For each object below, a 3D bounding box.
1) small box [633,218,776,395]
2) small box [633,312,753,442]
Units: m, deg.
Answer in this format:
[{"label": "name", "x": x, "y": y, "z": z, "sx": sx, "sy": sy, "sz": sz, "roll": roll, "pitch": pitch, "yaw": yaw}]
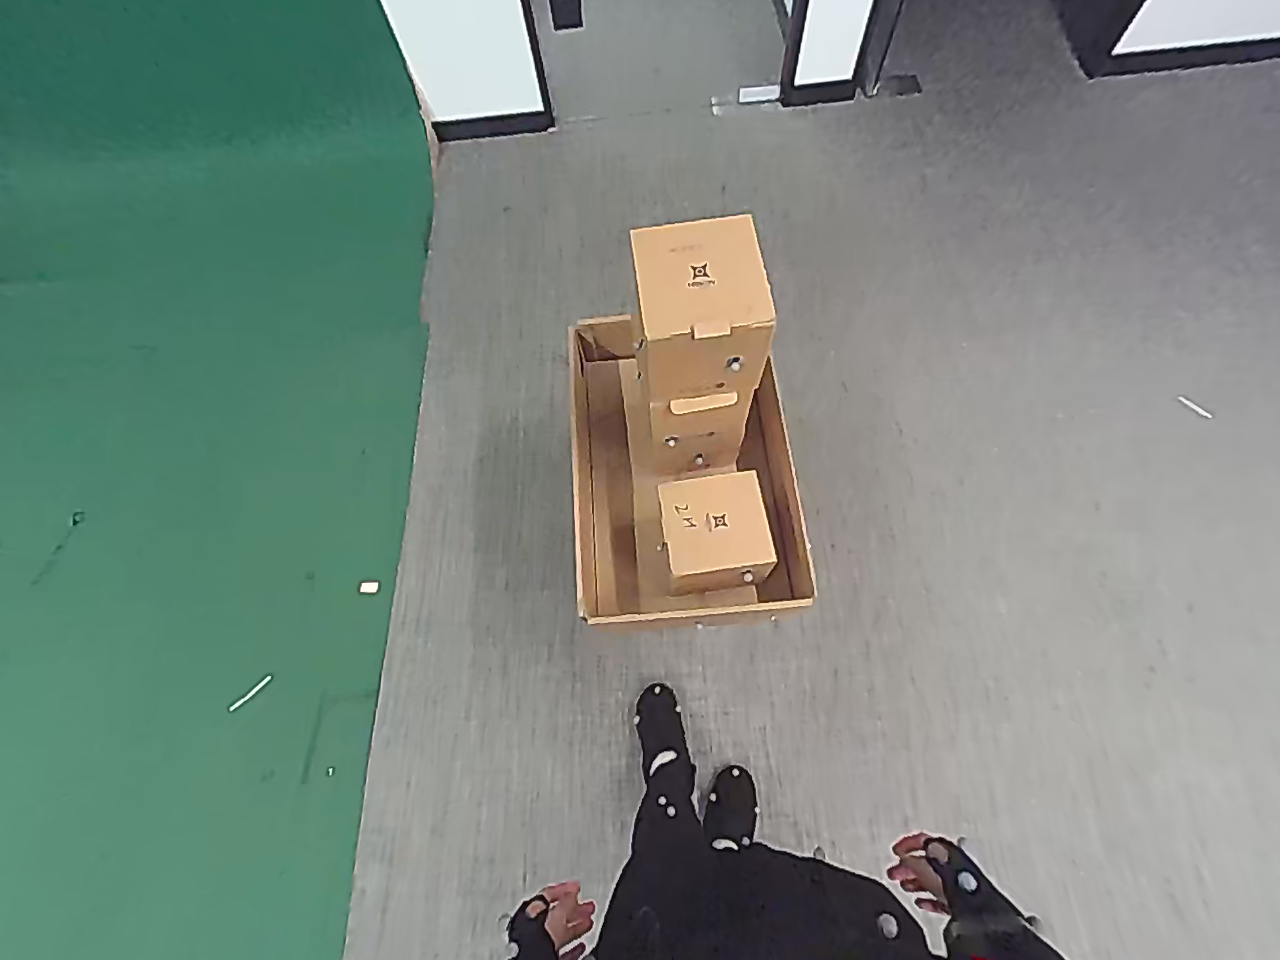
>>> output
[{"label": "small box", "x": 0.084, "y": -0.232, "z": 0.767, "sx": 0.168, "sy": 0.176, "sz": 0.179, "roll": -7, "pitch": 70, "yaw": 0}, {"label": "small box", "x": 0.086, "y": -0.176, "z": 0.920, "sx": 0.168, "sy": 0.176, "sz": 0.179, "roll": -10, "pitch": 69, "yaw": 0}]
